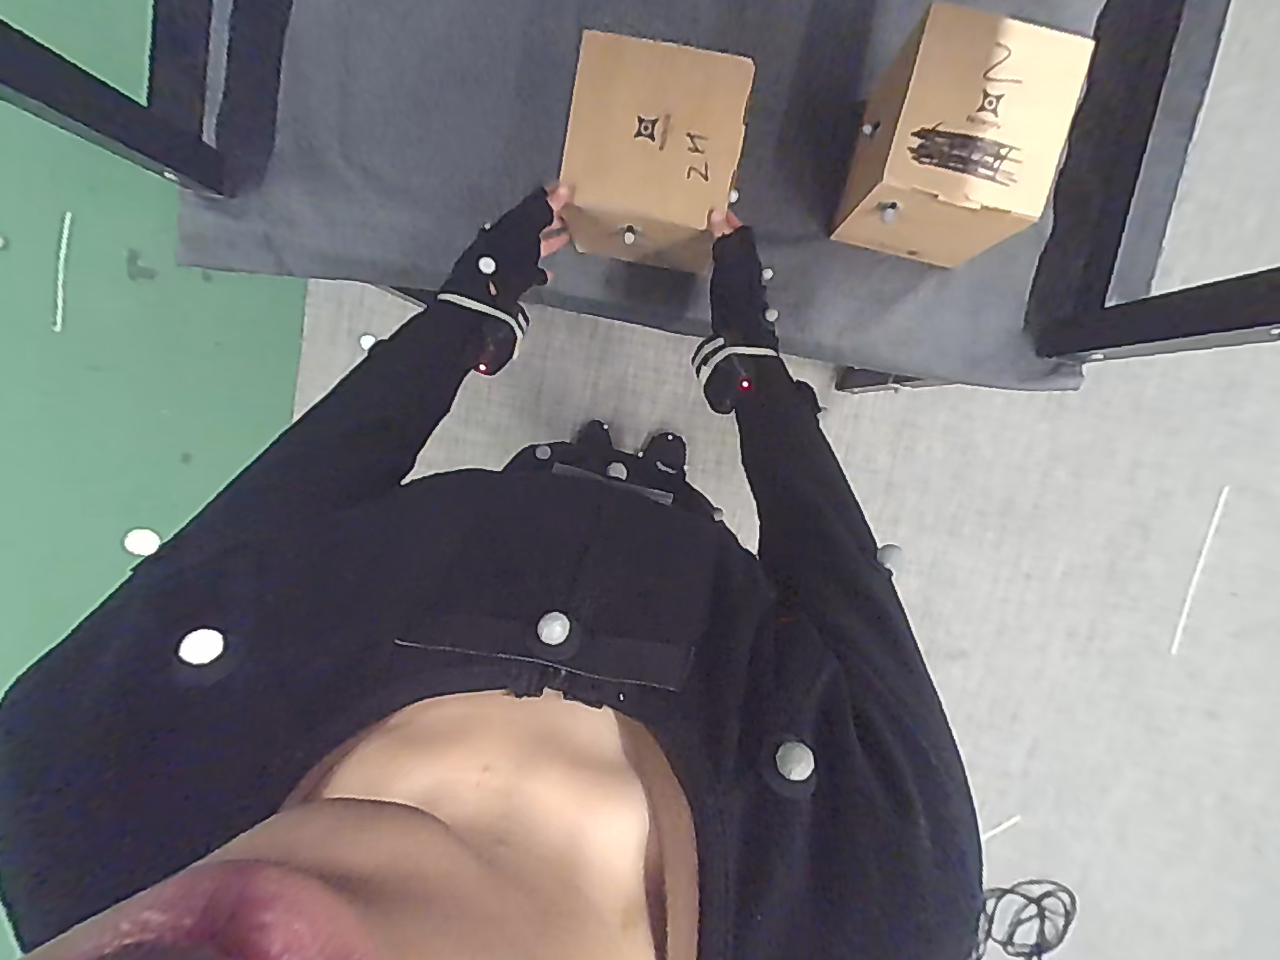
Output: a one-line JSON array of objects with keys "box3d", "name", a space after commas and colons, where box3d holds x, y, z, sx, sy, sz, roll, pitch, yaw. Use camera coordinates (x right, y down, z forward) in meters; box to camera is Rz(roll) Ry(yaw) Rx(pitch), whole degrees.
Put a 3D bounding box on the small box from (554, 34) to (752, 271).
[{"box3d": [0.013, -0.357, 0.624, 0.179, 0.176, 0.168, 11, 97, 0], "name": "small box"}]
